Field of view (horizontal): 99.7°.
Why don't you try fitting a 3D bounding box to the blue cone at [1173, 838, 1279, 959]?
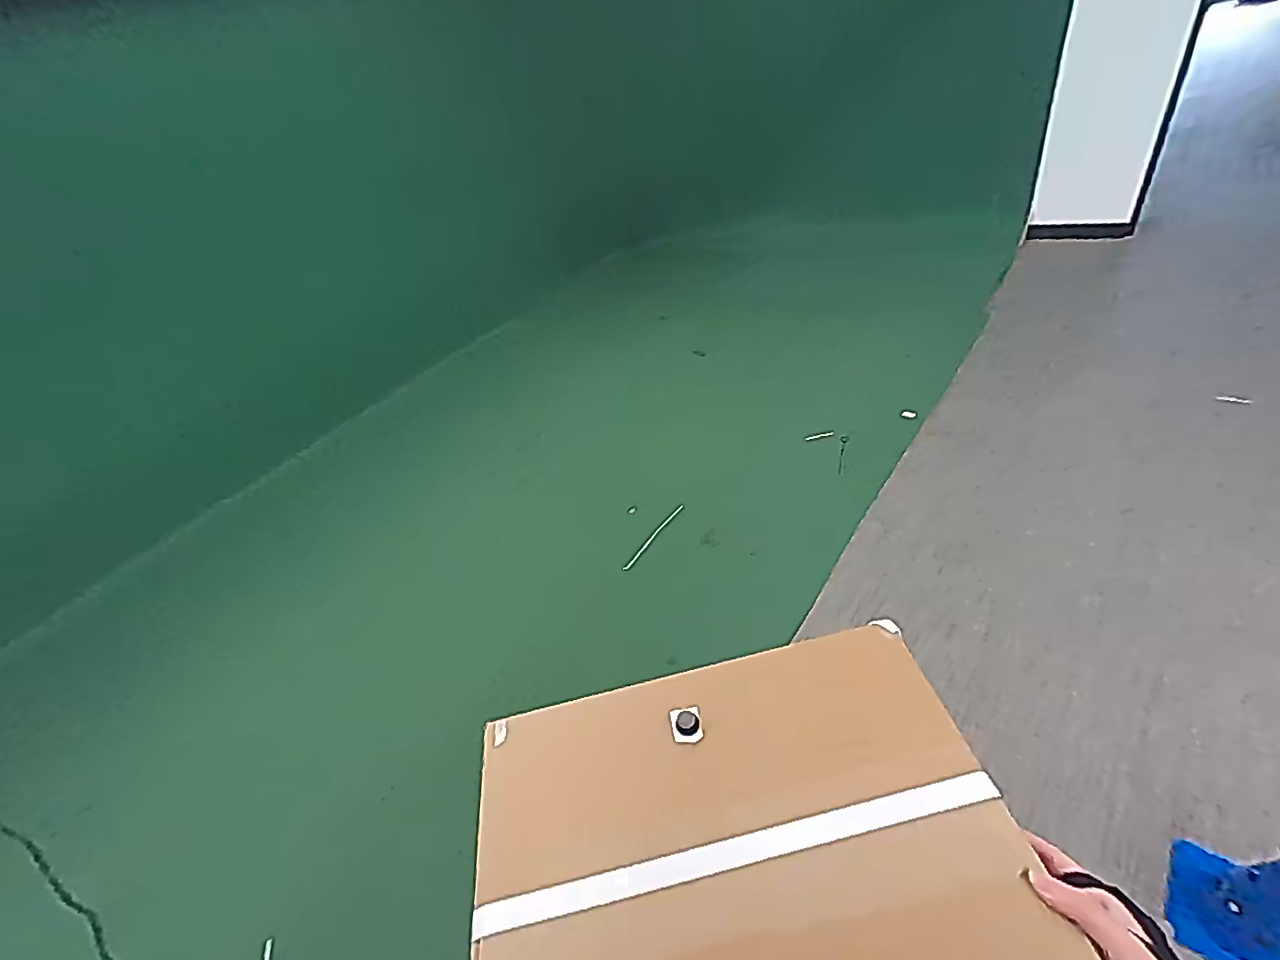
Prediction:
[{"bbox_3d":[1.081,0.674,0.900,0.192,0.380,0.193,17,49,34],"label":"blue cone"}]
